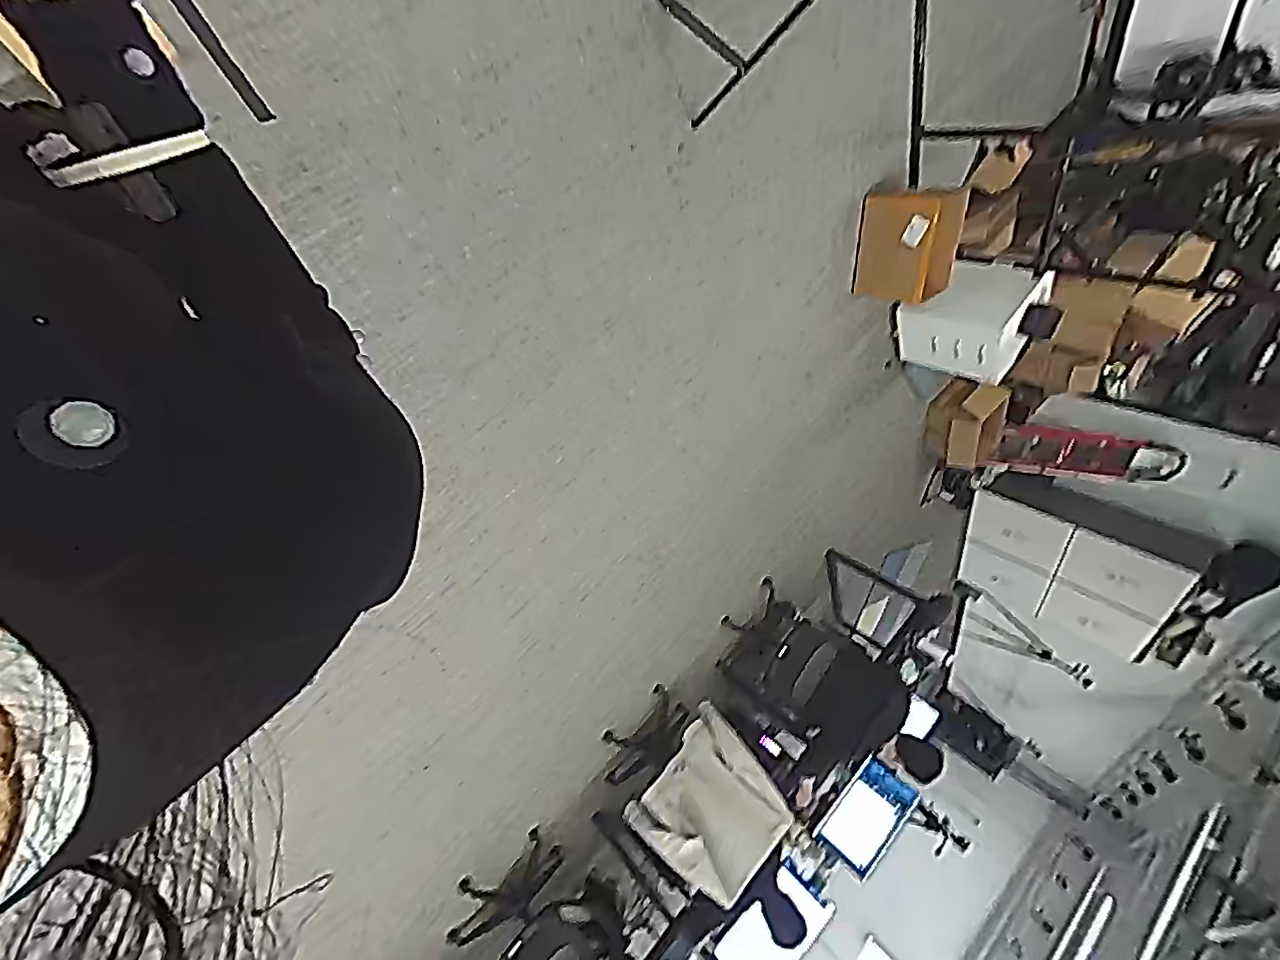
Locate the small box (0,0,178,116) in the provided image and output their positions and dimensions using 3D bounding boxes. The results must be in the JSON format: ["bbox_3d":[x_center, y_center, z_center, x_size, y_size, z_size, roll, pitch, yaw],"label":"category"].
[{"bbox_3d":[-0.790,-0.629,0.738,0.168,0.176,0.179,-43,136,-16],"label":"small box"}]

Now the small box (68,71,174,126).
[{"bbox_3d":[-0.892,-0.692,0.852,0.168,0.176,0.179,-45,137,-15],"label":"small box"}]
